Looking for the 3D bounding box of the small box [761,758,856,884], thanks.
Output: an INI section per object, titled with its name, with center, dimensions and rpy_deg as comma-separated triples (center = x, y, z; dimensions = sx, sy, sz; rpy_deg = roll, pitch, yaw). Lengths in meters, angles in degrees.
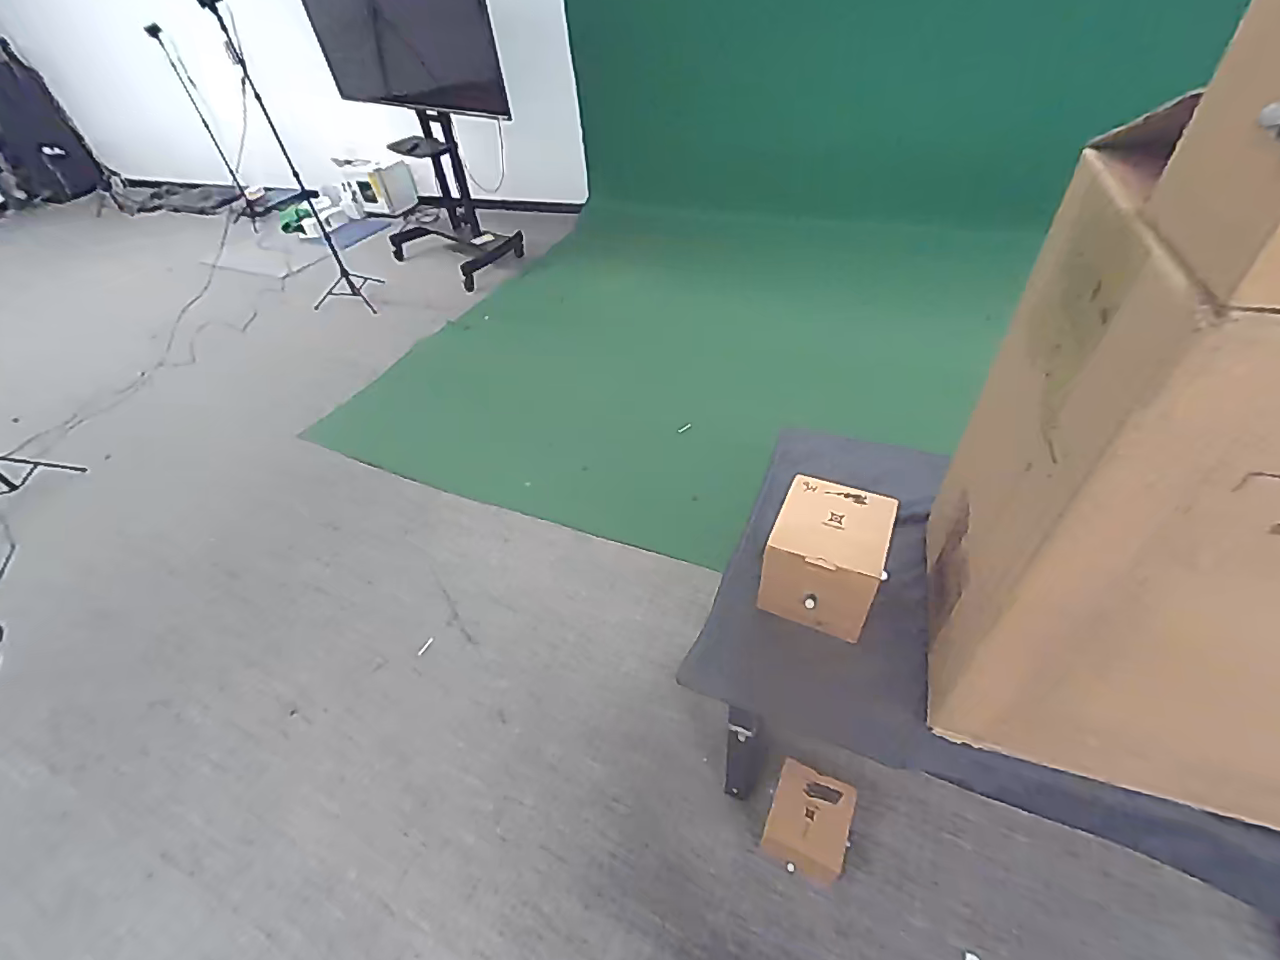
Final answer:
[small box]
center = 0.386, 0.793, 1.257
dimensions = 0.168, 0.176, 0.179
rpy_deg = 16, 50, 23
